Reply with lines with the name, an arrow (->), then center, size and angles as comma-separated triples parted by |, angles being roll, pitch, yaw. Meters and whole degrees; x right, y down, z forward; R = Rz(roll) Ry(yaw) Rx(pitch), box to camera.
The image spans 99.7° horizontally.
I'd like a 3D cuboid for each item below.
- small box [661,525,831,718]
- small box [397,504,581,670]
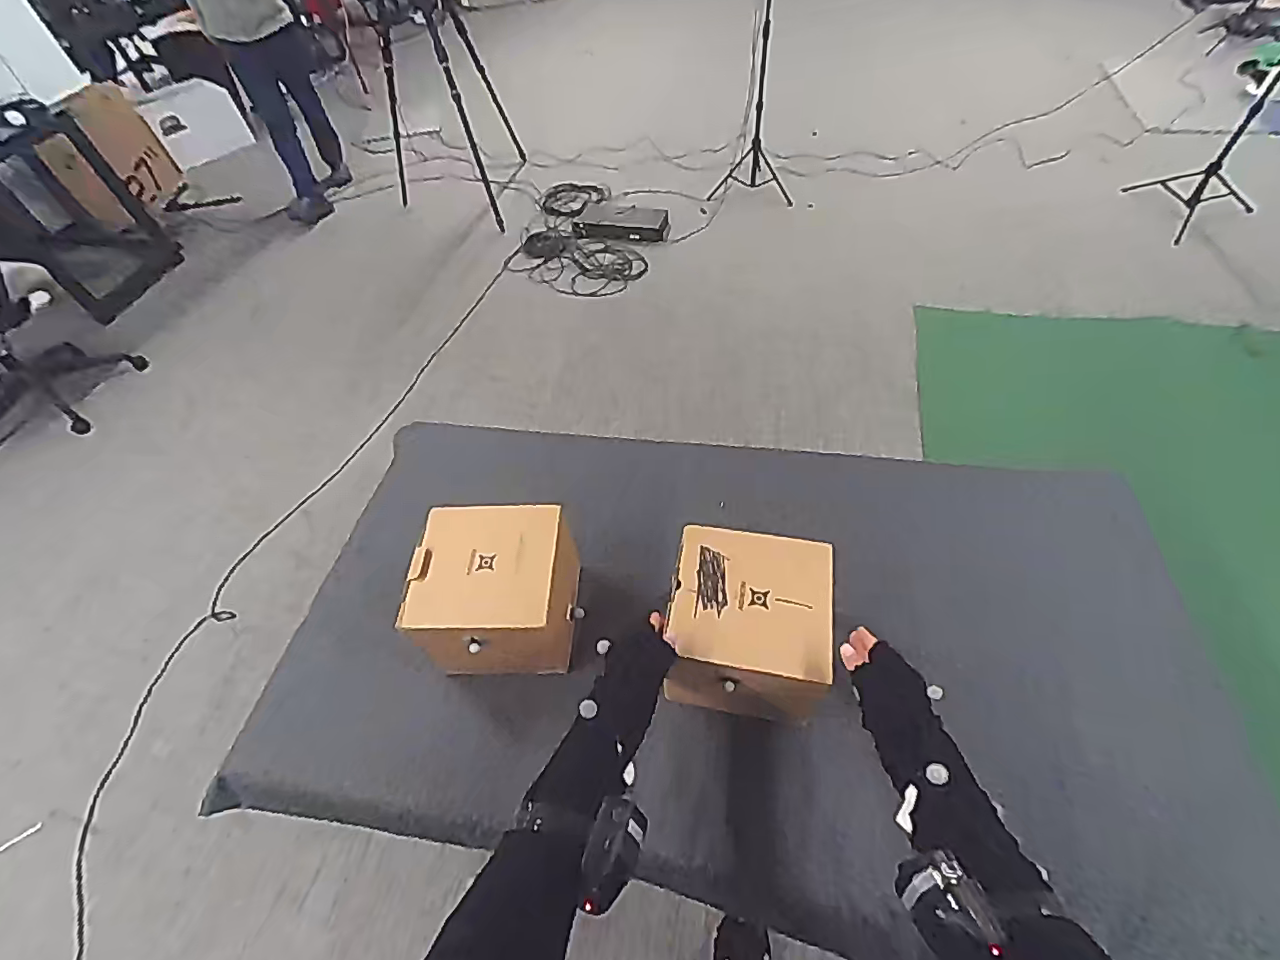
small box -> 0.128, 0.177, 0.666 | 0.179, 0.176, 0.168 | 8, 54, 10
small box -> -0.183, 0.146, 0.719 | 0.179, 0.176, 0.168 | -1, 54, 4
